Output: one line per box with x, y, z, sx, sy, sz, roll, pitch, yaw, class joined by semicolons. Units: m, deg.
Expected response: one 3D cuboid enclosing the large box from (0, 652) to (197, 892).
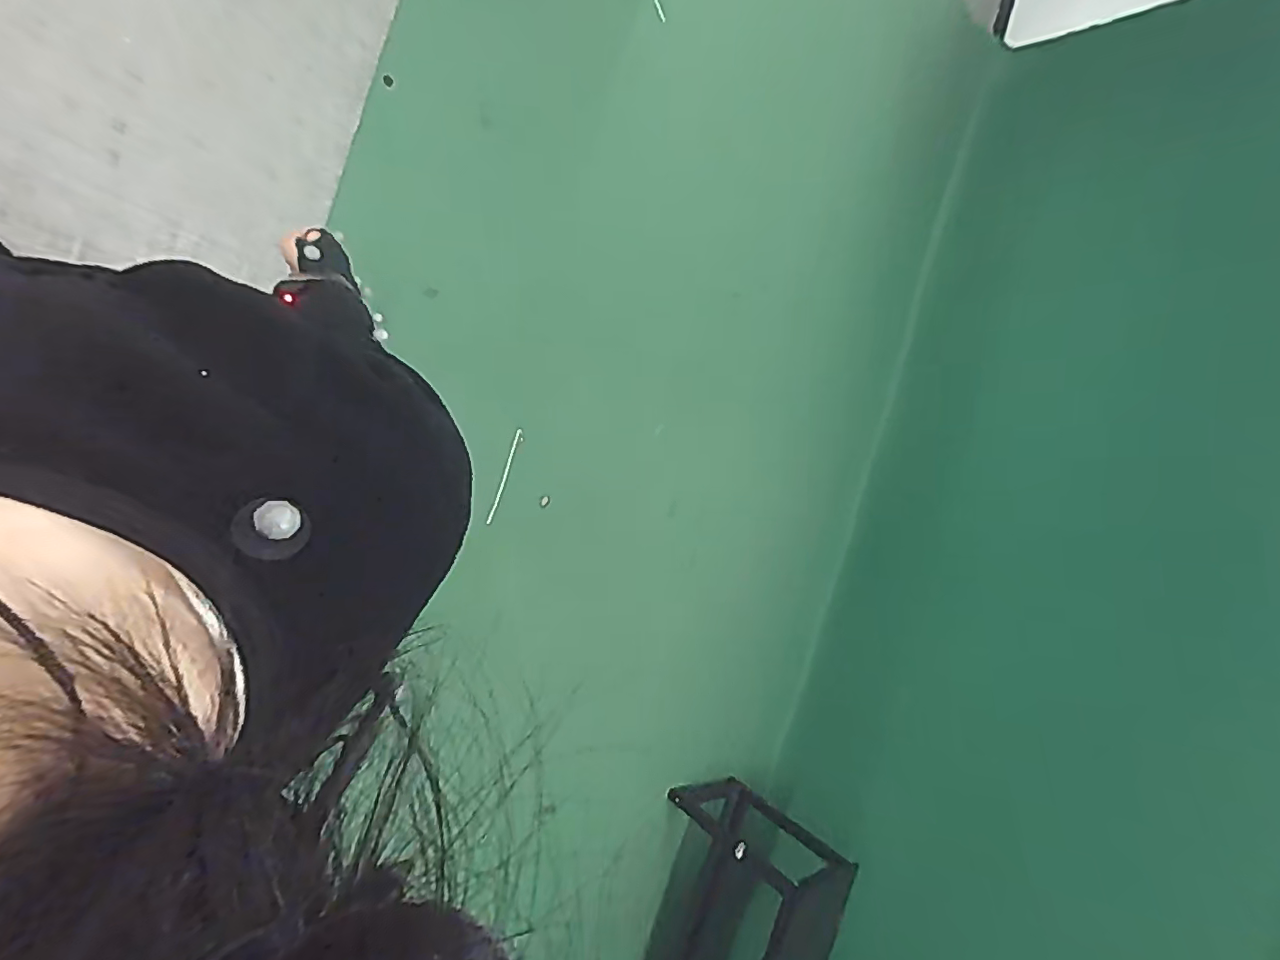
-1.123;0.574;1.032;0.408;0.320;0.320;-1;103;-44;large box
